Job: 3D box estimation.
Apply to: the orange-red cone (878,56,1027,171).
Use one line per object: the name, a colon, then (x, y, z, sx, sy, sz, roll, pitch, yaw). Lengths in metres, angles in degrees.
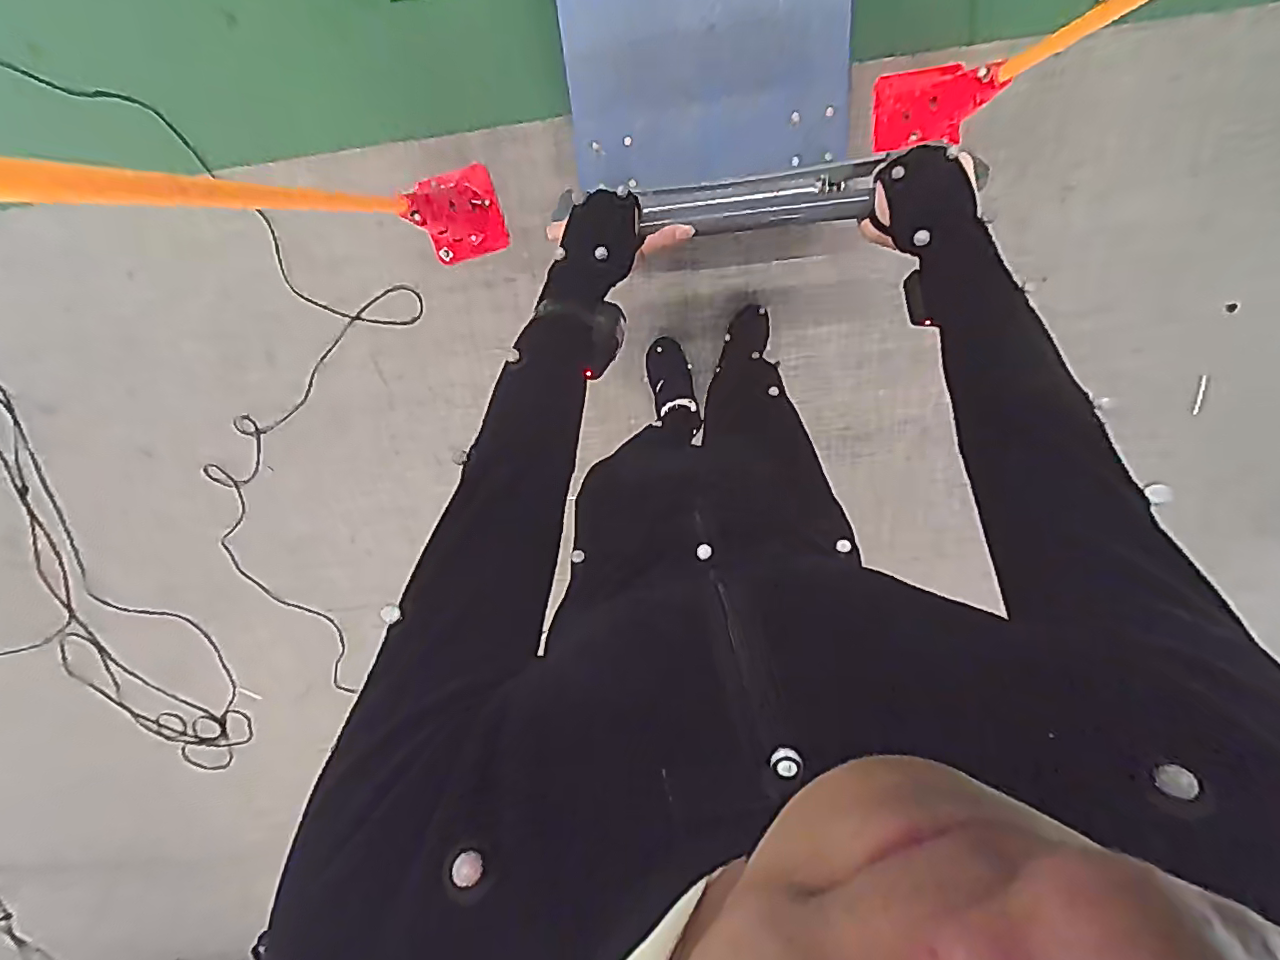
orange-red cone: (0.641, -0.765, 1.078, 0.198, 0.360, 0.199, -6, 111, 4)
